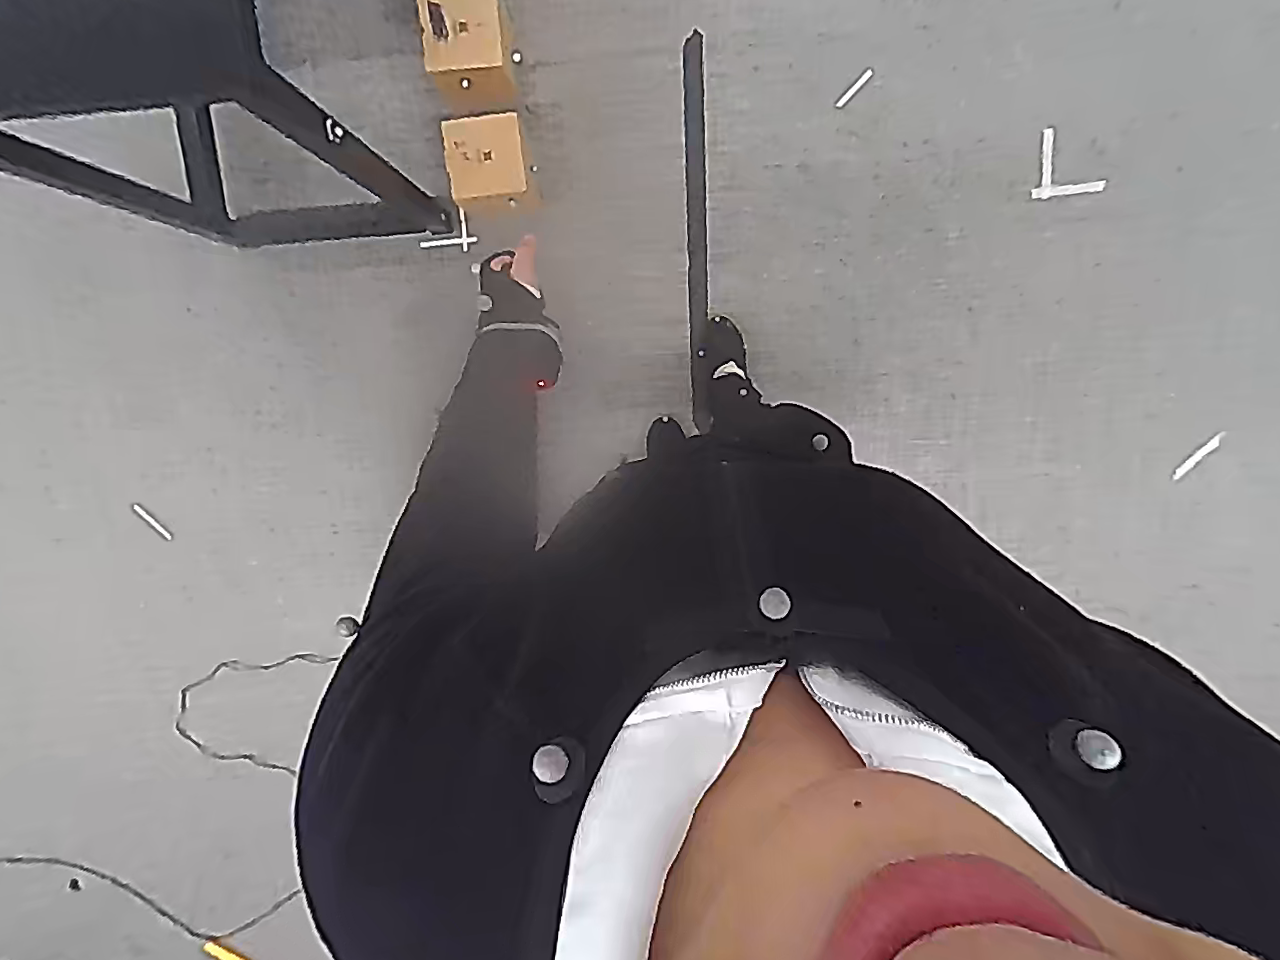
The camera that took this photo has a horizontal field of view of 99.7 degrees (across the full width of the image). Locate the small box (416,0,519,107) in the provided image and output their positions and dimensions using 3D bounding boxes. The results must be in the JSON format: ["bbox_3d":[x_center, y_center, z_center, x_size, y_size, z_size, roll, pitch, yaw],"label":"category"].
[{"bbox_3d":[-0.392,-0.993,1.250,0.179,0.176,0.168,-4,101,1],"label":"small box"}]
